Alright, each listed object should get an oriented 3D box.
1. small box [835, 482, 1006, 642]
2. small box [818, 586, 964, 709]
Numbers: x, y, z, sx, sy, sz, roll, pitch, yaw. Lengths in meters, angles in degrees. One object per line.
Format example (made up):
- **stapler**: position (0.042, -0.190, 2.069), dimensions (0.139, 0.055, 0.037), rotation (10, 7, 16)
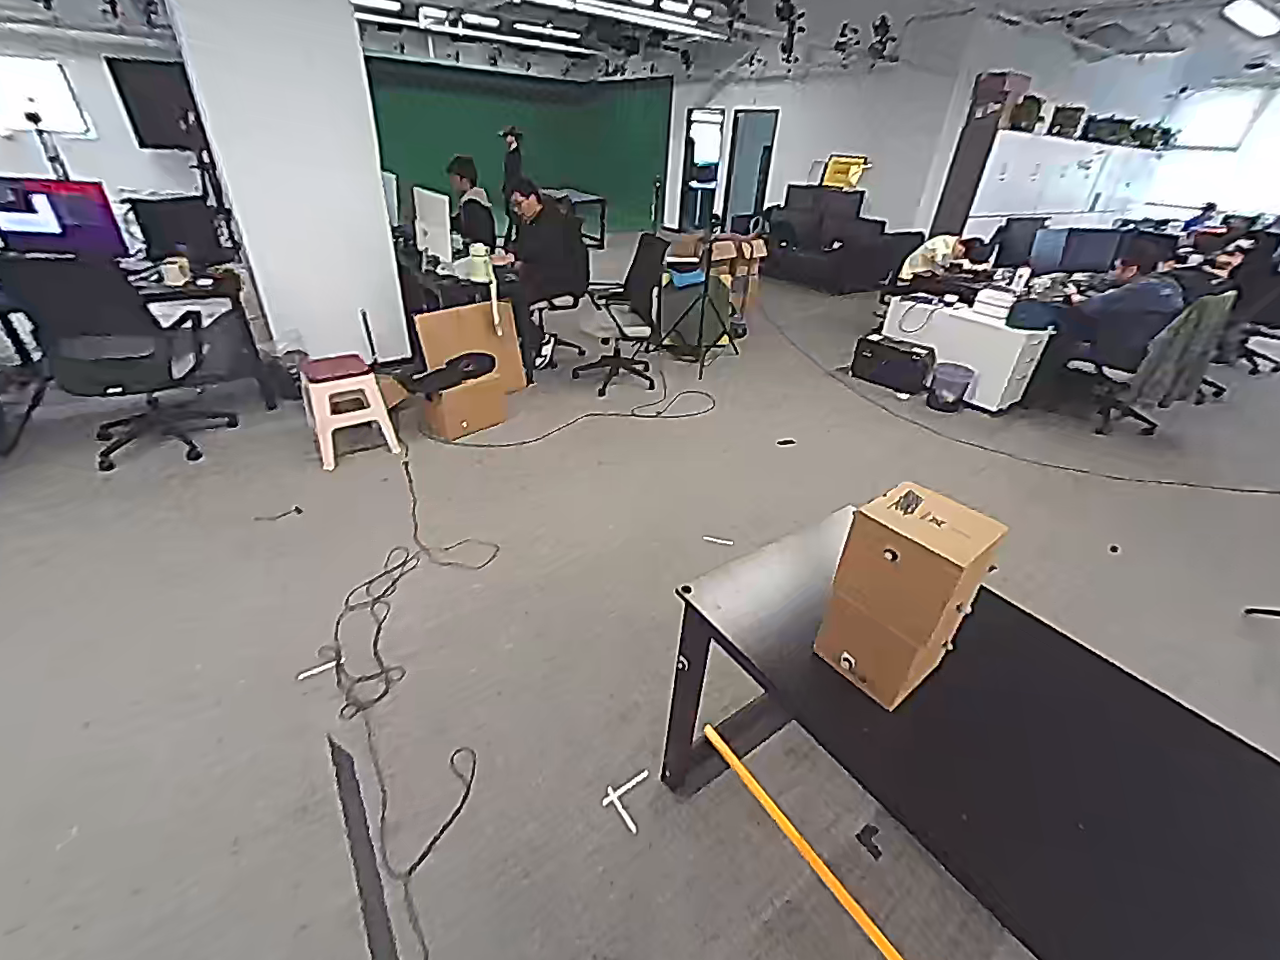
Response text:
- **small box**: position (0.455, 0.132, 0.900), dimensions (0.168, 0.176, 0.179), rotation (-21, 40, -35)
- **small box**: position (0.449, 0.272, 0.987), dimensions (0.179, 0.176, 0.168), rotation (-22, 39, -34)
